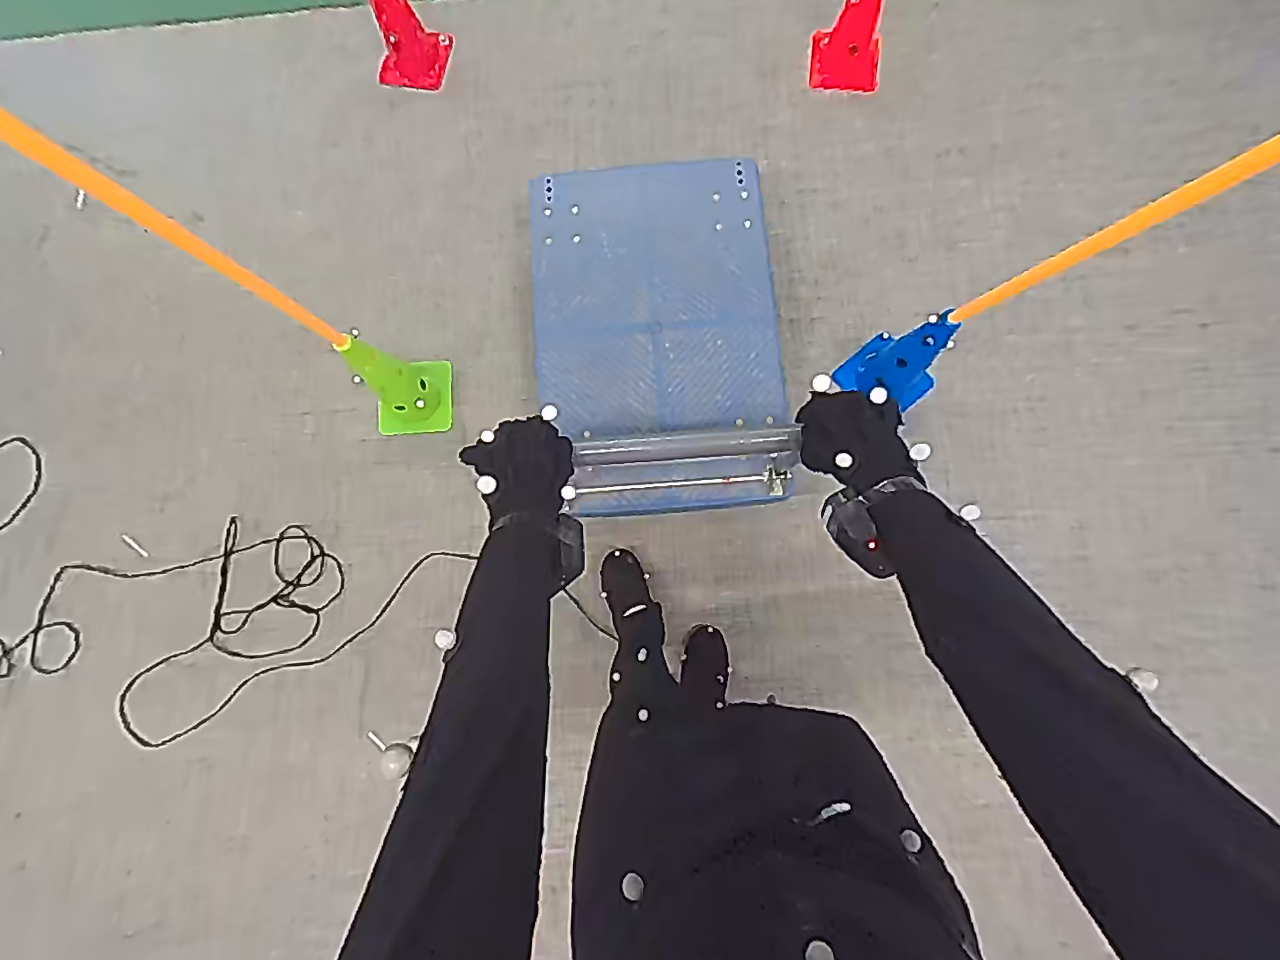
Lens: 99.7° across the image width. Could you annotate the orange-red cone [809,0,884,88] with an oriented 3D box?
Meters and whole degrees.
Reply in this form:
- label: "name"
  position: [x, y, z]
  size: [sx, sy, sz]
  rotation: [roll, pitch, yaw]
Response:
- label: "orange-red cone"
  position: [0.591, -1.260, 1.409]
  size: [0.198, 0.360, 0.199]
  rotation: [8, 82, 5]
